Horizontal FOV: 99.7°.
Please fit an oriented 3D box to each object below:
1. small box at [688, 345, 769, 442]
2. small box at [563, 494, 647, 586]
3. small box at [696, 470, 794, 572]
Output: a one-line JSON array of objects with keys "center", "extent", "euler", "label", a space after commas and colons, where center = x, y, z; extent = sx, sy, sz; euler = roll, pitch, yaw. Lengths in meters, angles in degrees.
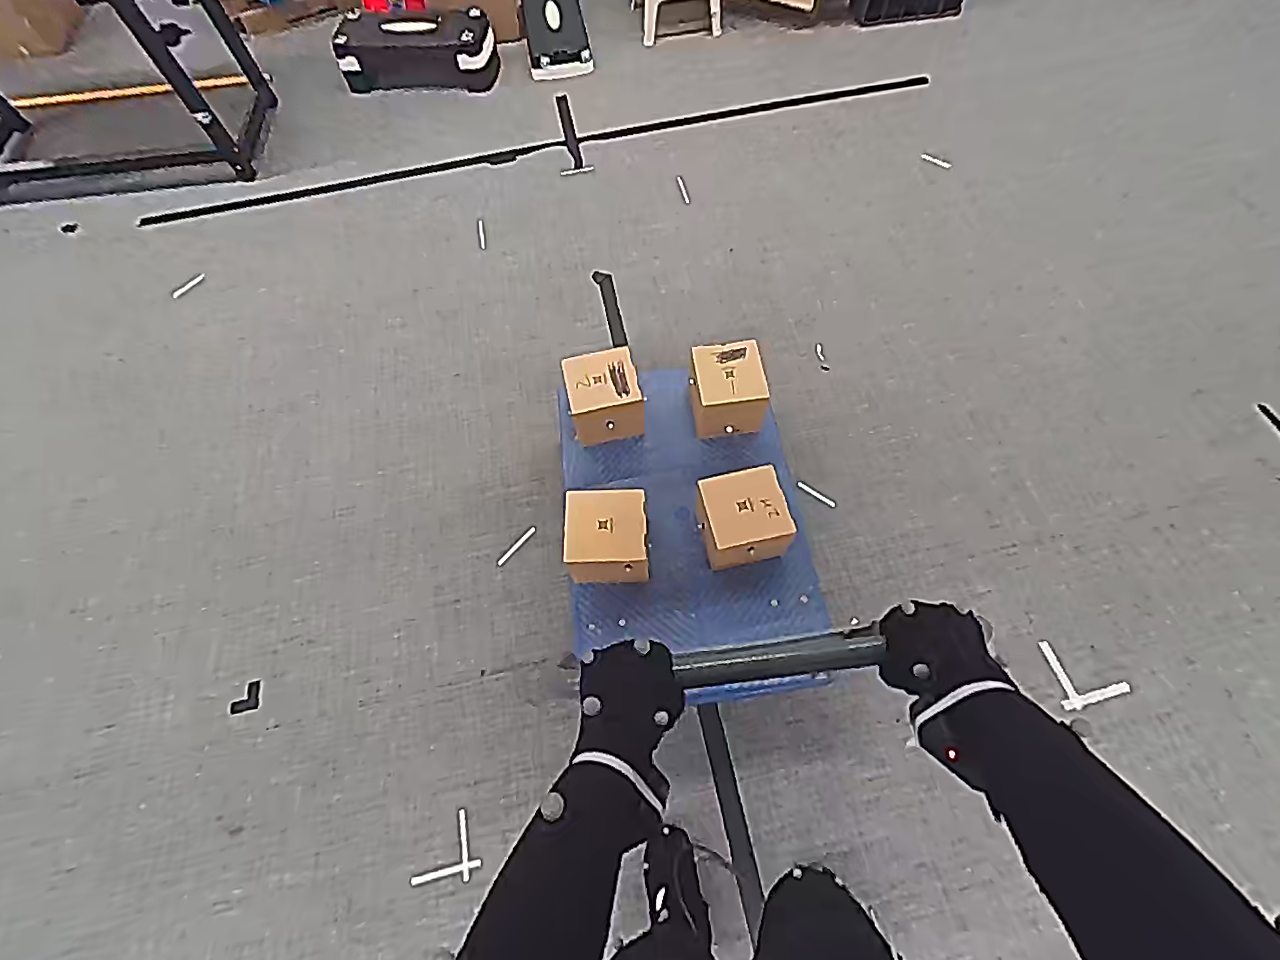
[{"center": [0.219, -0.219, 1.393], "extent": [0.168, 0.176, 0.179], "euler": [-8, 66, -1], "label": "small box"}, {"center": [-0.073, 0.142, 1.237], "extent": [0.179, 0.176, 0.168], "euler": [-2, 64, 0], "label": "small box"}, {"center": [0.230, 0.100, 1.244], "extent": [0.179, 0.176, 0.168], "euler": [-12, 65, -3], "label": "small box"}]
